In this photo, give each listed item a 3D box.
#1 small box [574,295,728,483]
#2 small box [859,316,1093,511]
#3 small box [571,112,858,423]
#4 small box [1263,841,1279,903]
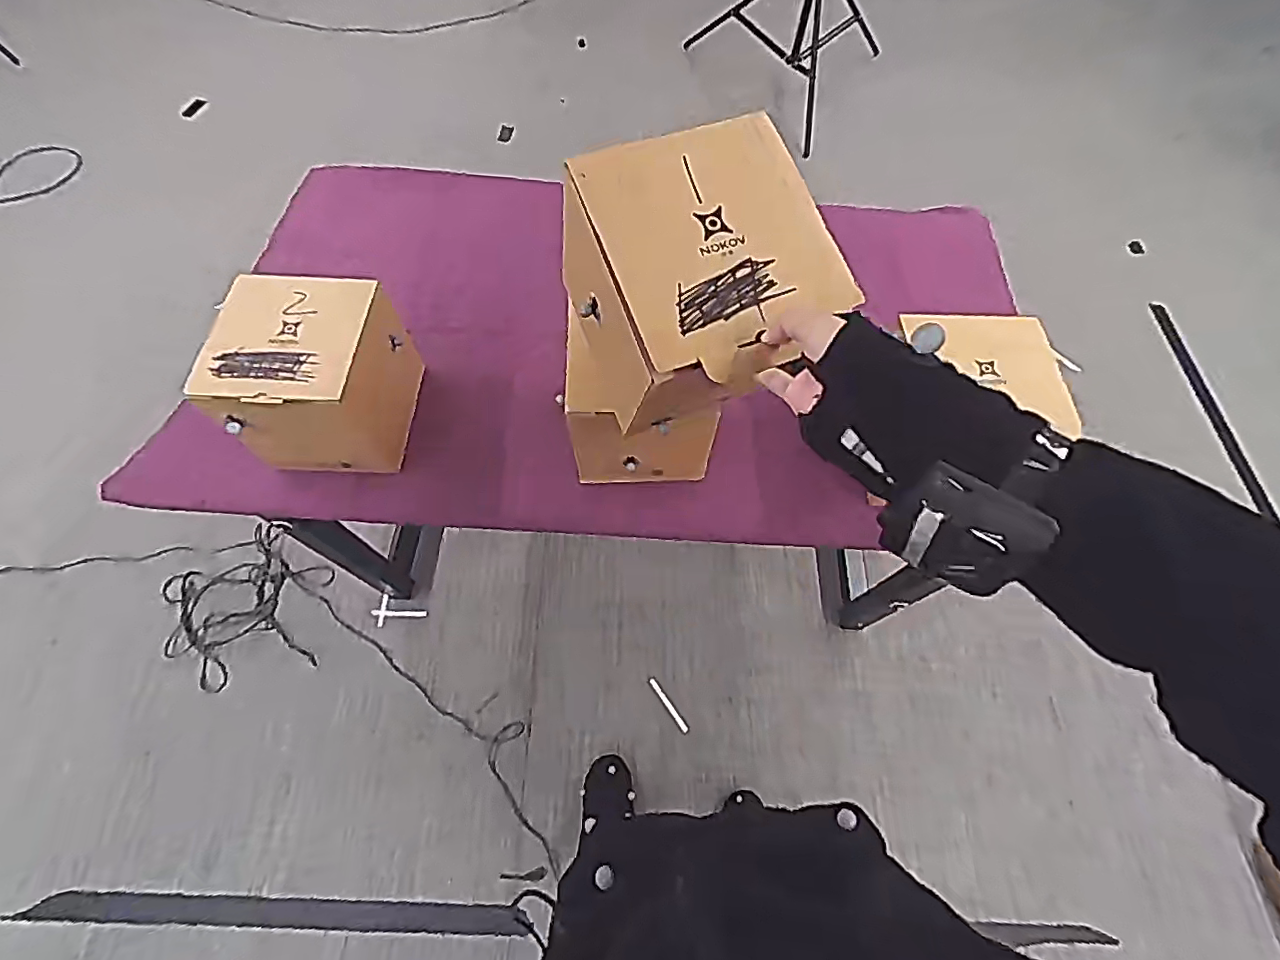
[{"bbox_3d":[0.006,-0.110,0.673,0.168,0.176,0.179,-2,65,-2],"label":"small box"},{"bbox_3d":[0.387,-0.076,0.665,0.168,0.176,0.179,1,64,0],"label":"small box"},{"bbox_3d":[0.046,-0.160,0.466,0.168,0.176,0.179,-20,84,-10],"label":"small box"},{"bbox_3d":[1.420,0.828,1.071,0.179,0.176,0.168,1,65,-2],"label":"small box"}]
